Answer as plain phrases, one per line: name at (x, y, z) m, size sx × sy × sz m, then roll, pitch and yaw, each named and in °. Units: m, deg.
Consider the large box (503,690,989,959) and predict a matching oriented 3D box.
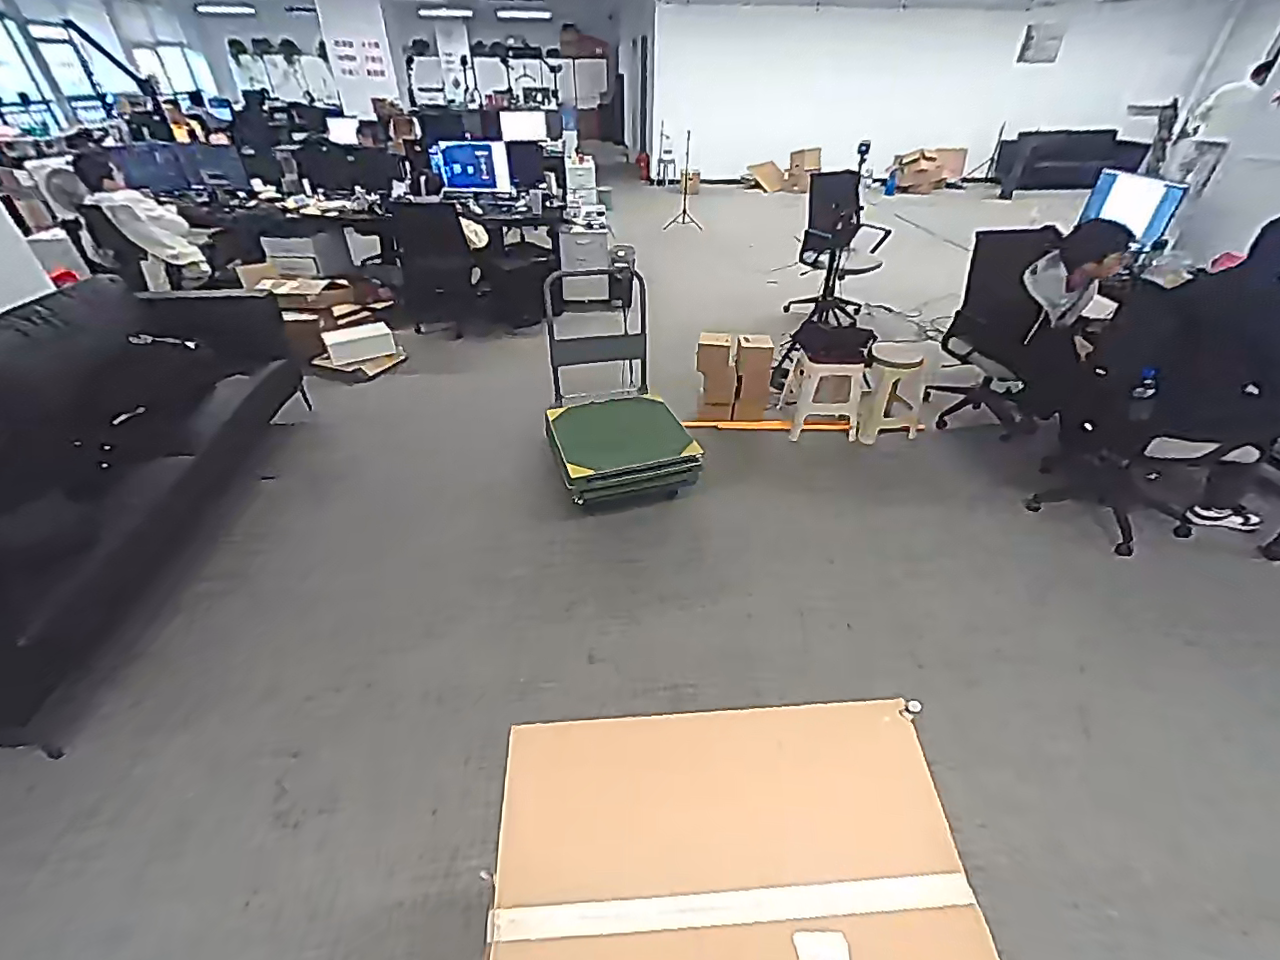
large box at (0.084, 0.450, 0.586) m, size 0.408 × 0.320 × 0.320 m, roll -4°, pitch 52°, yaw -1°
